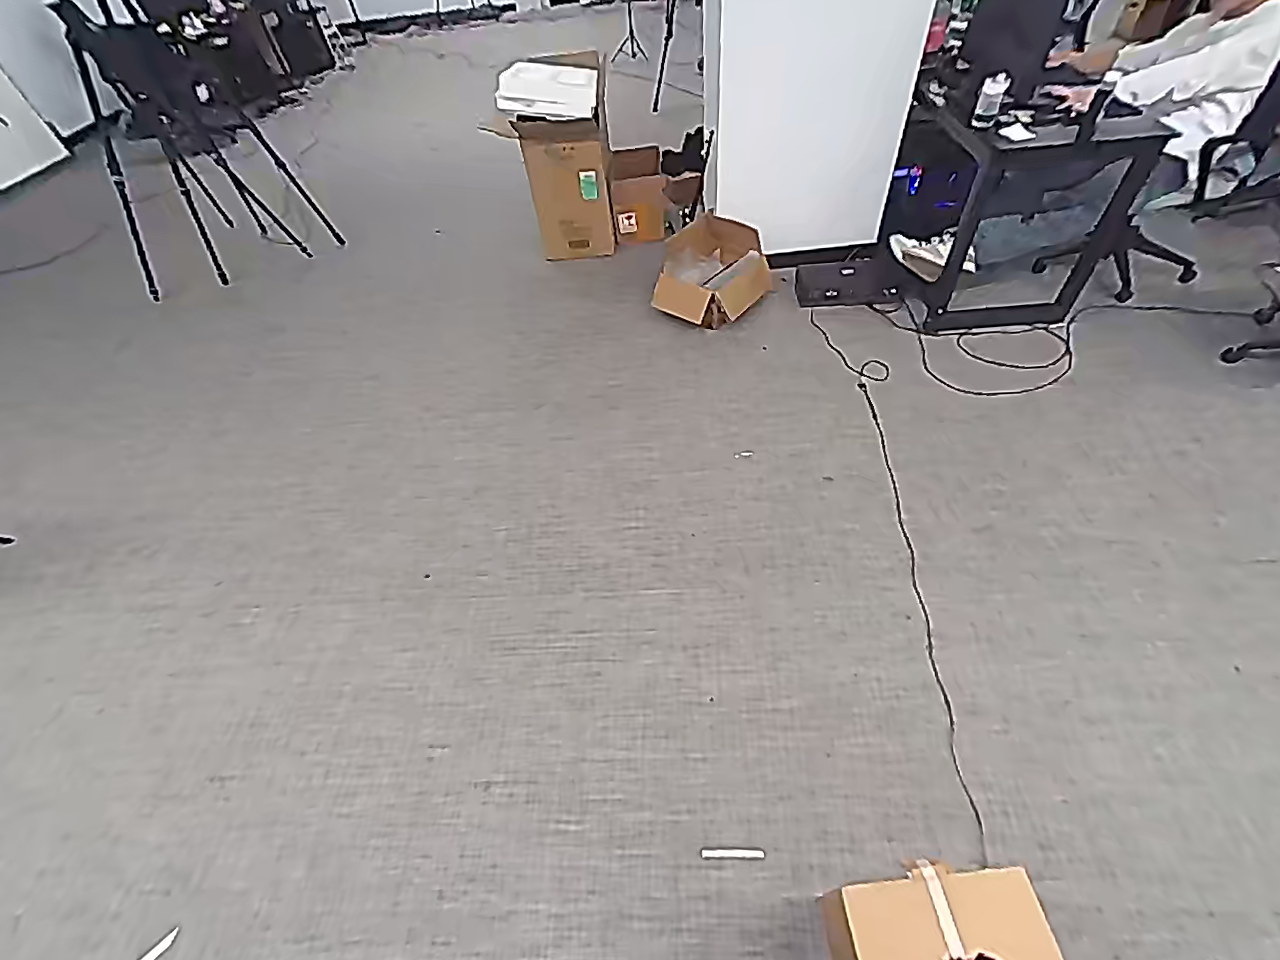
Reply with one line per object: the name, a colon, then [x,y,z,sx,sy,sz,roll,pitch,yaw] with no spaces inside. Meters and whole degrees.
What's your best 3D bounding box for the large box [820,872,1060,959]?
large box: [0.537,0.939,0.919,0.320,0.320,0.408,-9,50,2]
